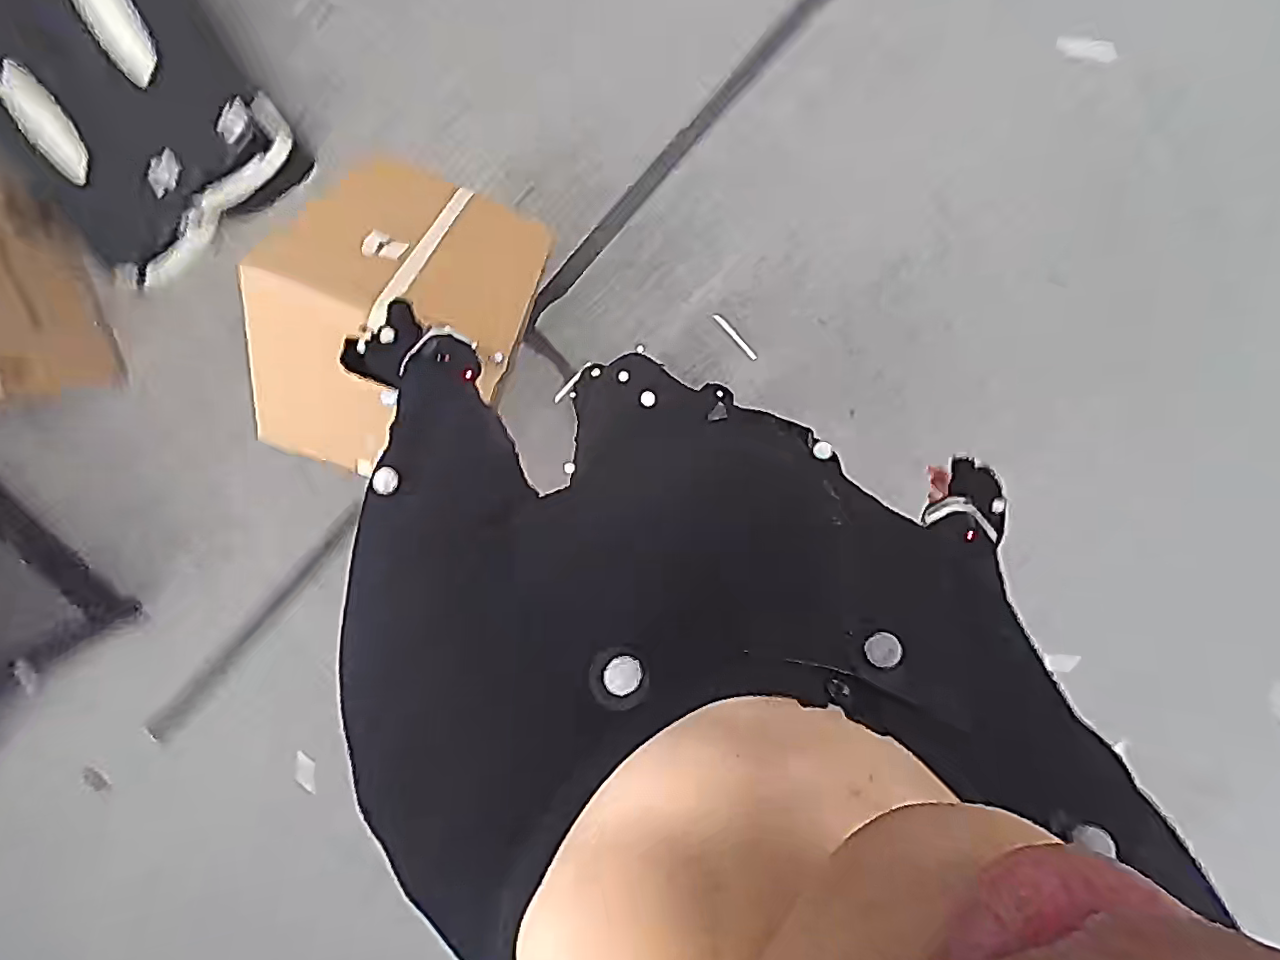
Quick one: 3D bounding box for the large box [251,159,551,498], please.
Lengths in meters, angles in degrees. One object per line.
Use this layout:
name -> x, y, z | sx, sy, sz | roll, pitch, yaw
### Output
large box -> -0.369, -0.248, 0.902 | 0.320, 0.408, 0.320 | 19, 136, -15
